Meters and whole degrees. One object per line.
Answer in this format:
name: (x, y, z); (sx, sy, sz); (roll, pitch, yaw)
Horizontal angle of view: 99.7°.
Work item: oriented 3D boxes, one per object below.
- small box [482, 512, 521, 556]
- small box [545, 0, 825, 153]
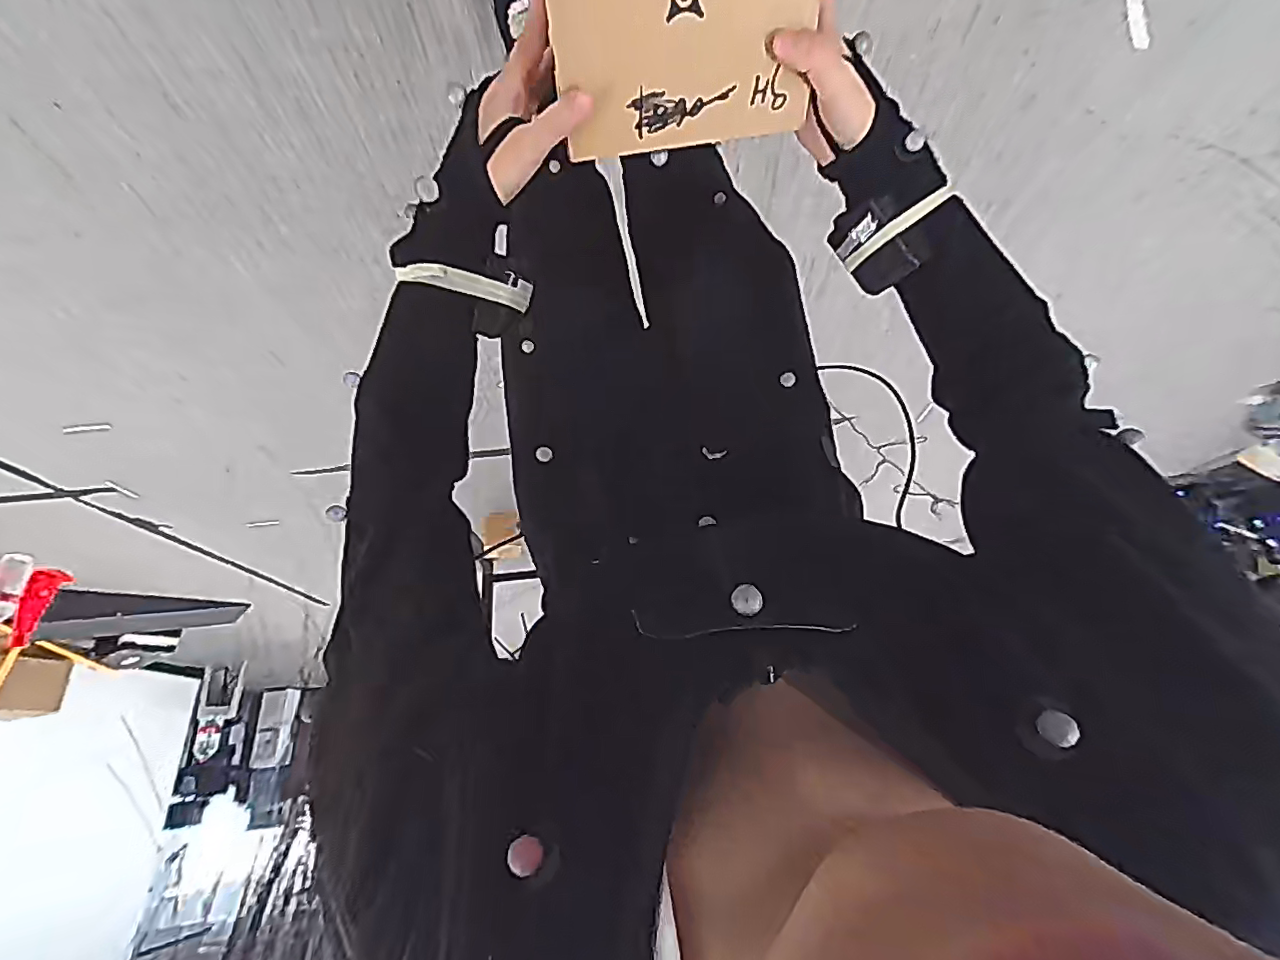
small box: (-0.672, 0.259, 2.619); (0.179, 0.176, 0.168); (0, 152, -17)
small box: (0.017, -0.348, 0.364); (0.168, 0.176, 0.179); (-10, 135, -2)
